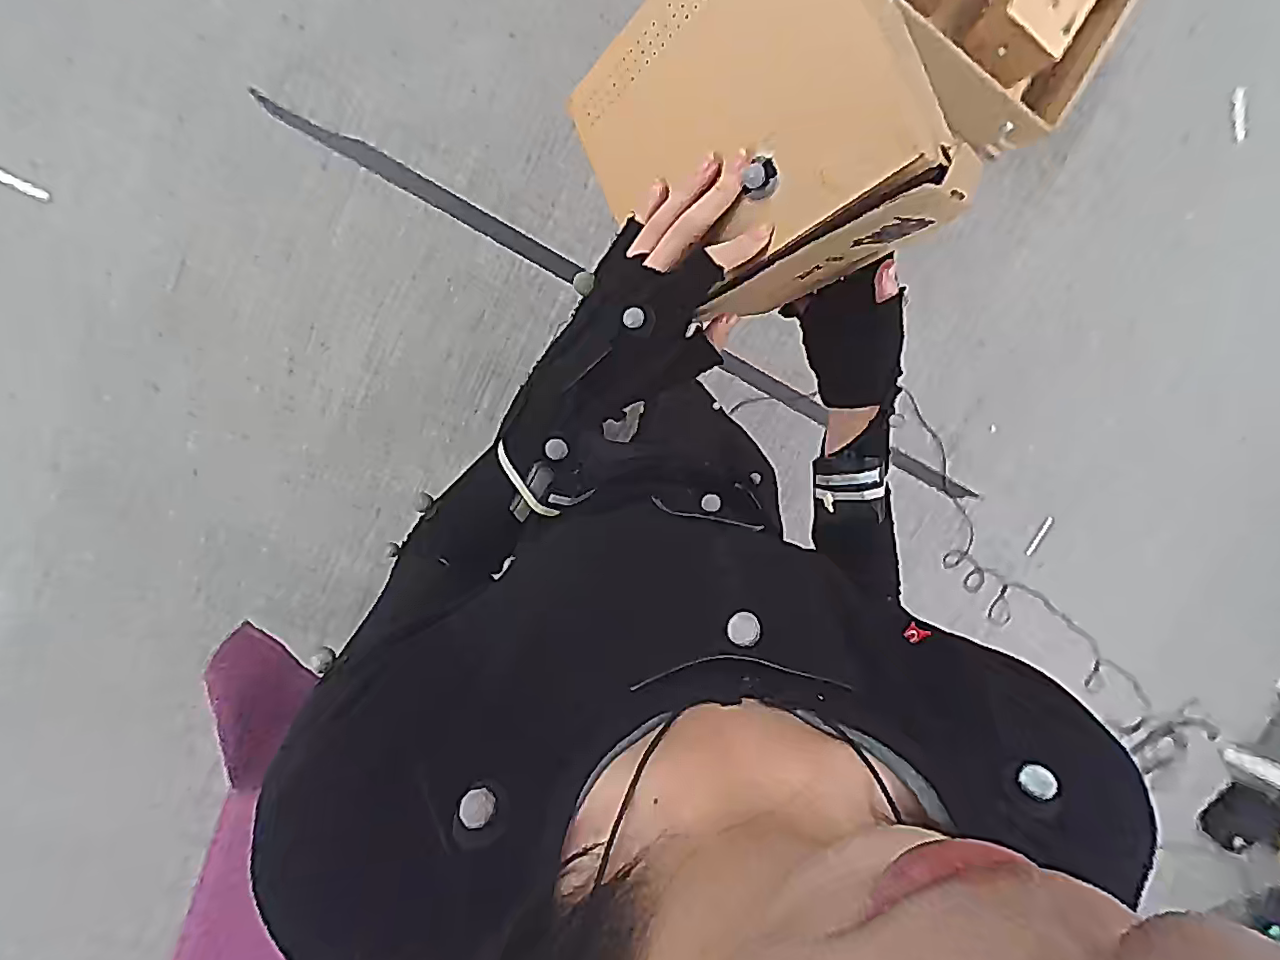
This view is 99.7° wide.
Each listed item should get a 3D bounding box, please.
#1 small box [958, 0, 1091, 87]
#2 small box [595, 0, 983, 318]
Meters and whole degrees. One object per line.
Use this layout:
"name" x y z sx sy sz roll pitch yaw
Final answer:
"small box" 0.913 -1.096 1.292 0.179 0.176 0.168 27 98 -12
"small box" 0.099 -0.233 0.368 0.179 0.168 0.176 -21 93 42
